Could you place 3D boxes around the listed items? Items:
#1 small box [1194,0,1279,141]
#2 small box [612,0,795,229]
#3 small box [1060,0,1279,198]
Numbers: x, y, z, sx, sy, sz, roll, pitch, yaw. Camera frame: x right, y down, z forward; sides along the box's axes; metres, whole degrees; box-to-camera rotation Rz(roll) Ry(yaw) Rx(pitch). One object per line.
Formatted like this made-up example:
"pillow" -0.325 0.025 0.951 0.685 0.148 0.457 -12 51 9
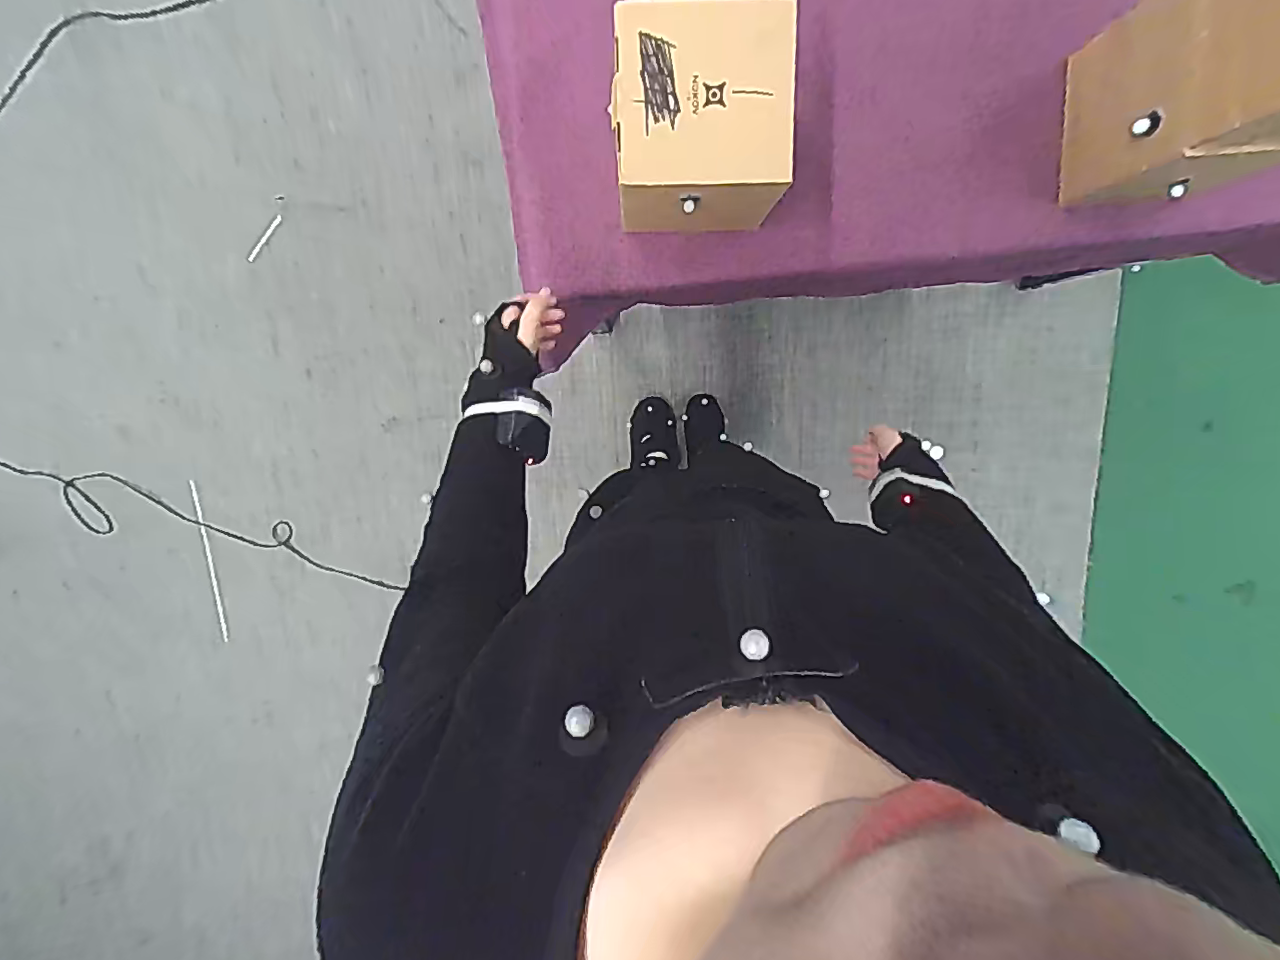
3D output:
"small box" 0.613 -0.406 0.434 0.168 0.176 0.179 -4 102 1
"small box" 0.062 -0.389 0.604 0.179 0.176 0.168 -2 100 -1
"small box" 0.608 -0.428 0.596 0.168 0.176 0.179 -4 100 0
